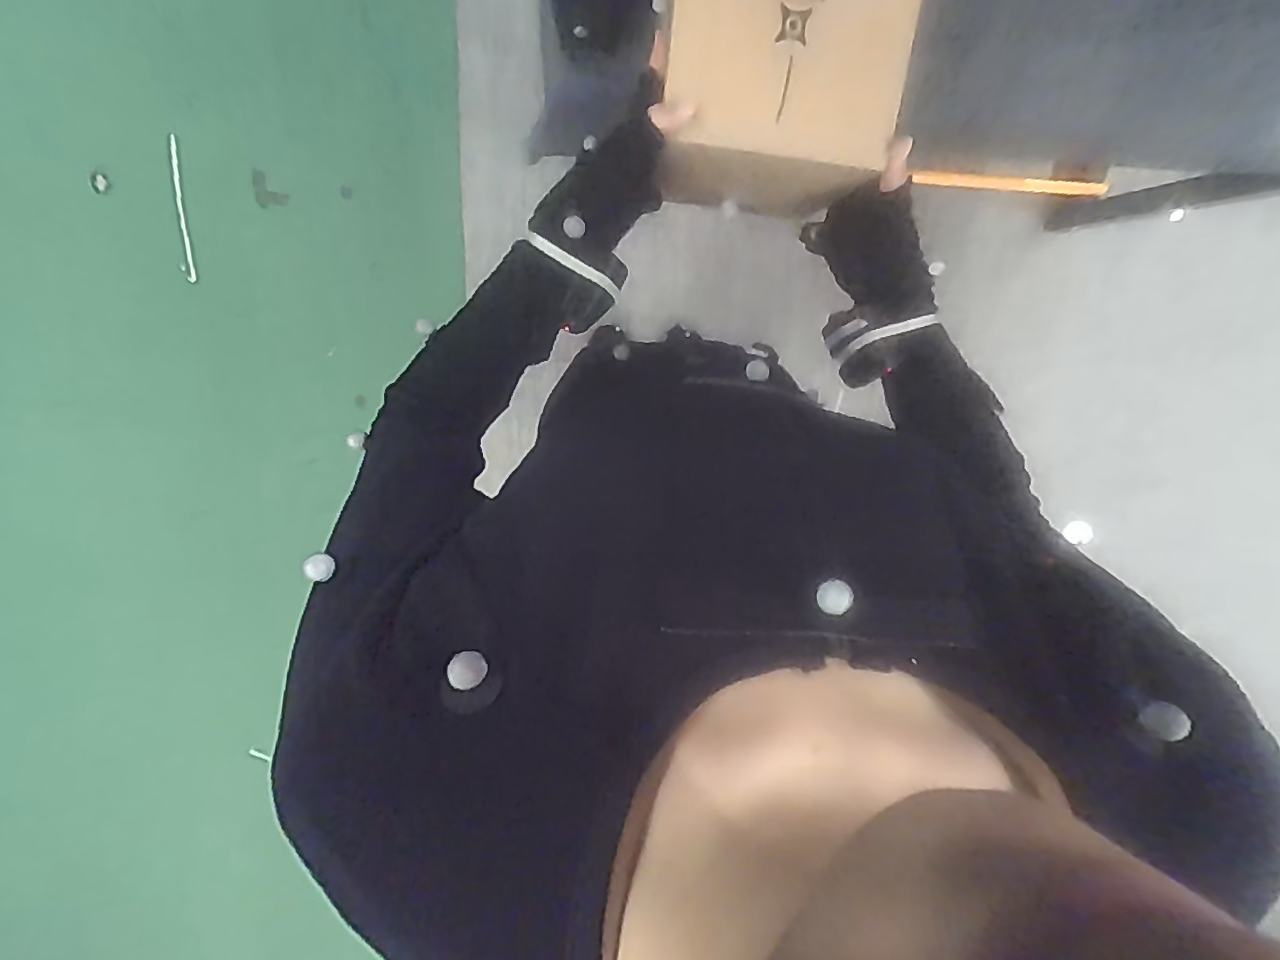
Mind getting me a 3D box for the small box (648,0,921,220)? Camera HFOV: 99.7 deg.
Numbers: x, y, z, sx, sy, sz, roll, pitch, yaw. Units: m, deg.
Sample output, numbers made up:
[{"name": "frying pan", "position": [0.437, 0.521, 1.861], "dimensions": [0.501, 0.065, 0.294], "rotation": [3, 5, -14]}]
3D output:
[{"name": "small box", "position": [0.100, -0.332, 0.436], "dimensions": [0.168, 0.176, 0.179], "rotation": [5, 104, -4]}]
